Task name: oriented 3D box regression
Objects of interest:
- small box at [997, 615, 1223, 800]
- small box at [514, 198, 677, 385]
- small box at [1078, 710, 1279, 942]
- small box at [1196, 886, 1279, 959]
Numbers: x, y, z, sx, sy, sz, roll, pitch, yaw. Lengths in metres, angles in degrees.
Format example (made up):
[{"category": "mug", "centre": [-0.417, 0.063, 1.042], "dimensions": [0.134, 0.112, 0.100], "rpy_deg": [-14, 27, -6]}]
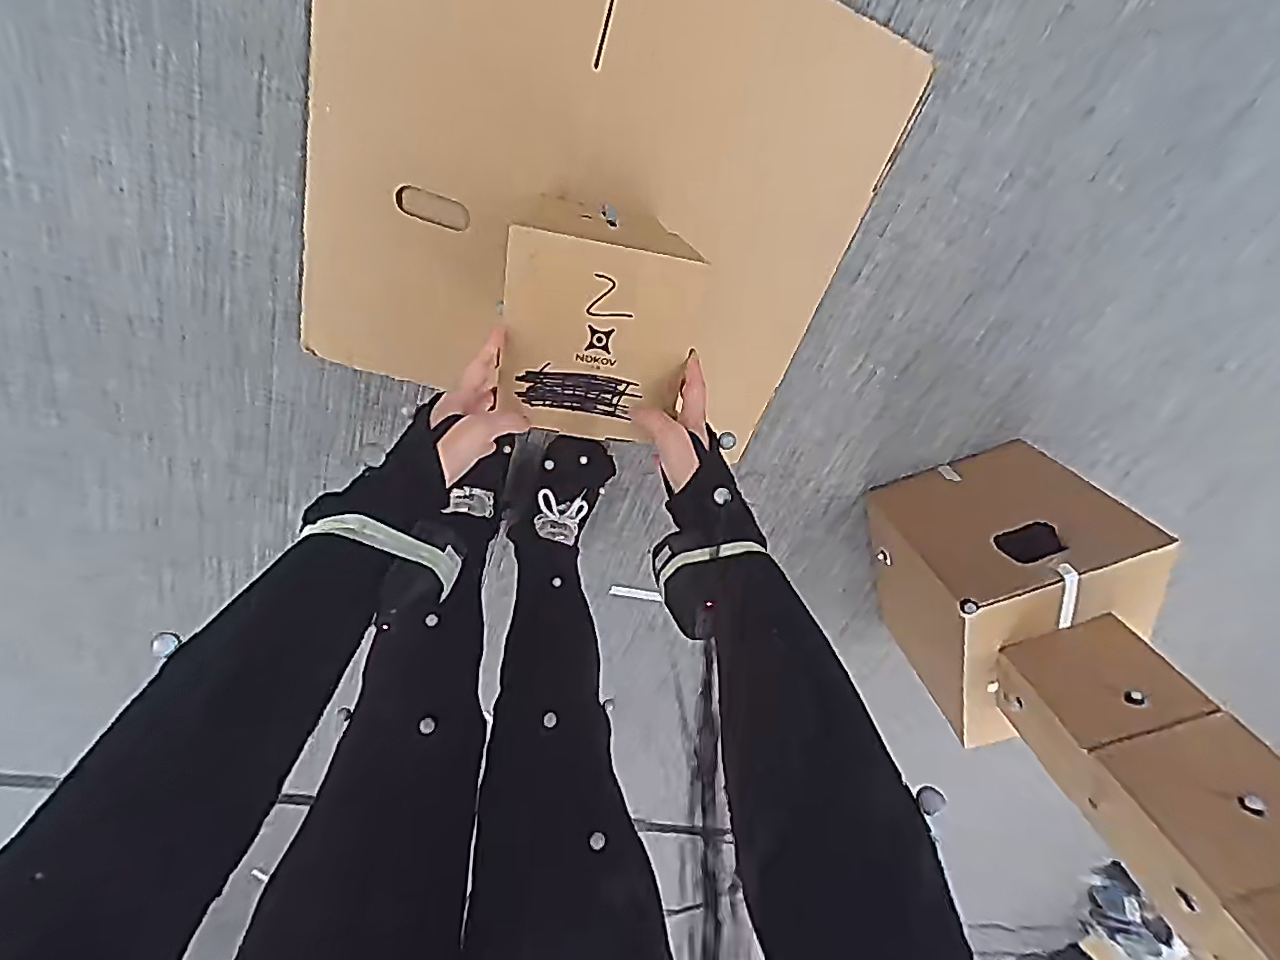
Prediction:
[{"category": "small box", "centre": [0.672, 0.328, 0.799], "dimensions": [0.179, 0.176, 0.168], "rpy_deg": [-20, 123, 5]}, {"category": "small box", "centre": [-0.063, -0.242, 0.682], "dimensions": [0.168, 0.176, 0.179], "rpy_deg": [7, 121, -10]}, {"category": "small box", "centre": [0.696, 0.414, 0.661], "dimensions": [0.179, 0.176, 0.168], "rpy_deg": [-21, 123, 4]}, {"category": "small box", "centre": [0.716, 0.504, 0.527], "dimensions": [0.179, 0.176, 0.168], "rpy_deg": [-21, 123, 5]}]
